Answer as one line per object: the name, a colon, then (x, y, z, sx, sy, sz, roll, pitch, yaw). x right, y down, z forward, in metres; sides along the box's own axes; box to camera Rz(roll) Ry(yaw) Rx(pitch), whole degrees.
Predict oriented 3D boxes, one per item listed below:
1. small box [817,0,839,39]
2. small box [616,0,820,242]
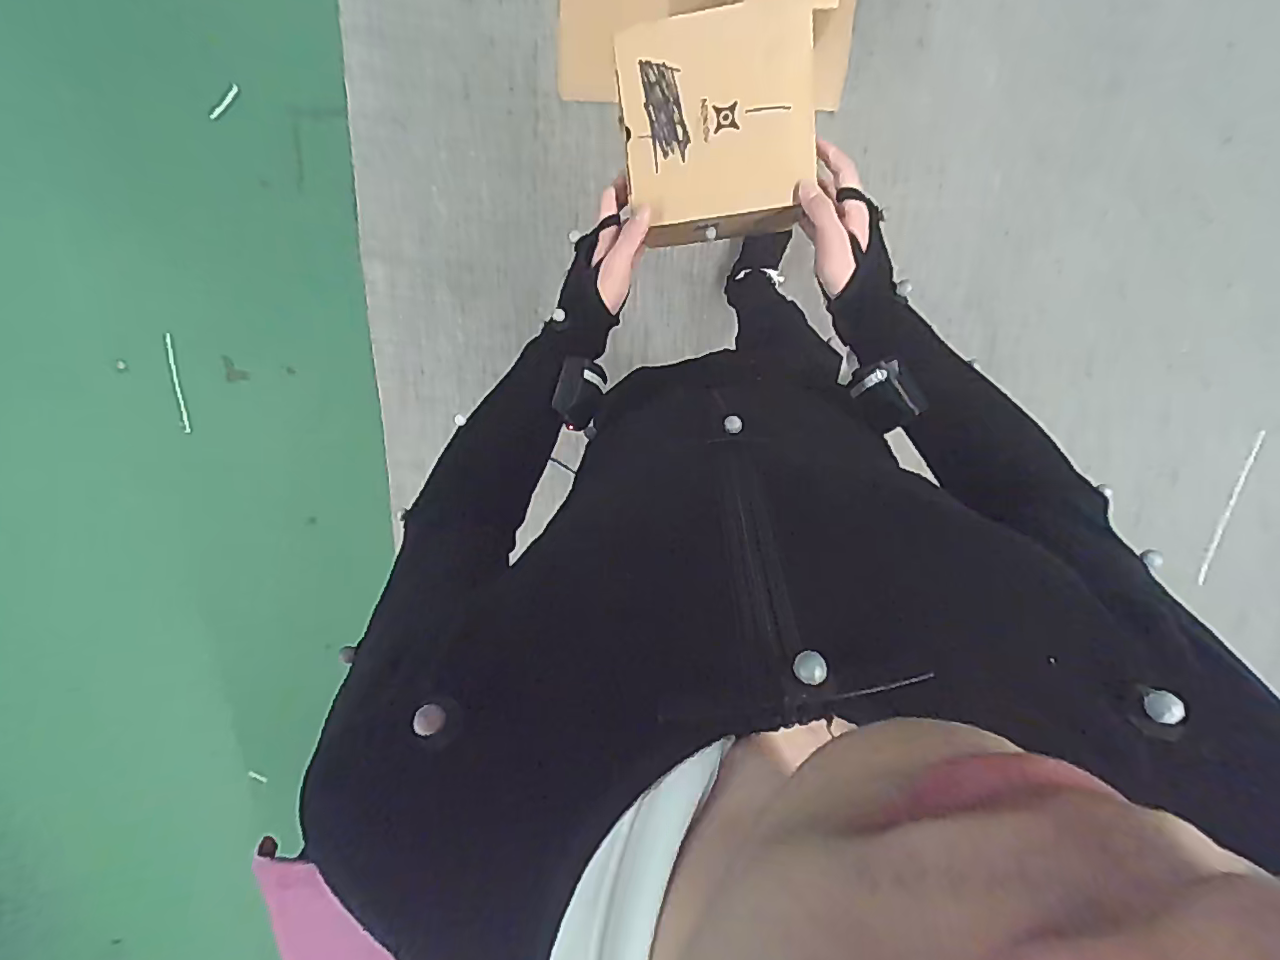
small box: (0.289, -0.970, 1.048, 0.179, 0.176, 0.168, 5, 110, 5)
small box: (0.081, -0.356, 0.564, 0.179, 0.176, 0.168, -5, 106, 7)
